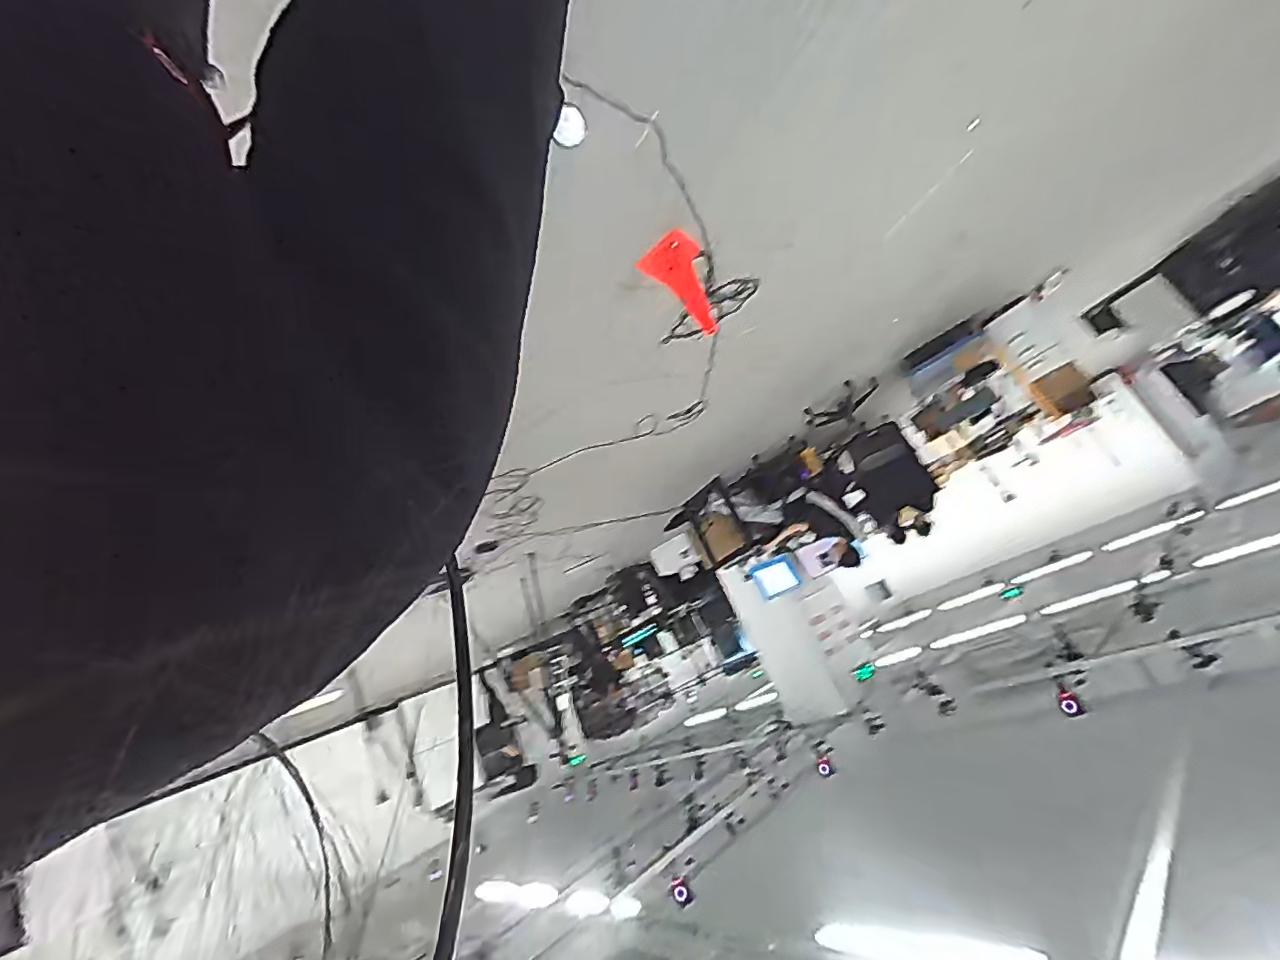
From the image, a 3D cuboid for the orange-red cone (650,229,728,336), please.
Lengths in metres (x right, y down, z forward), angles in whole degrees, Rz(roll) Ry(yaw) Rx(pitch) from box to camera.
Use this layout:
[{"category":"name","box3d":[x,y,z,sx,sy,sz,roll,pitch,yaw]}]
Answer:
[{"category":"orange-red cone","box3d":[0.217,-0.658,1.904,0.199,0.360,0.198,-33,159,27]}]
